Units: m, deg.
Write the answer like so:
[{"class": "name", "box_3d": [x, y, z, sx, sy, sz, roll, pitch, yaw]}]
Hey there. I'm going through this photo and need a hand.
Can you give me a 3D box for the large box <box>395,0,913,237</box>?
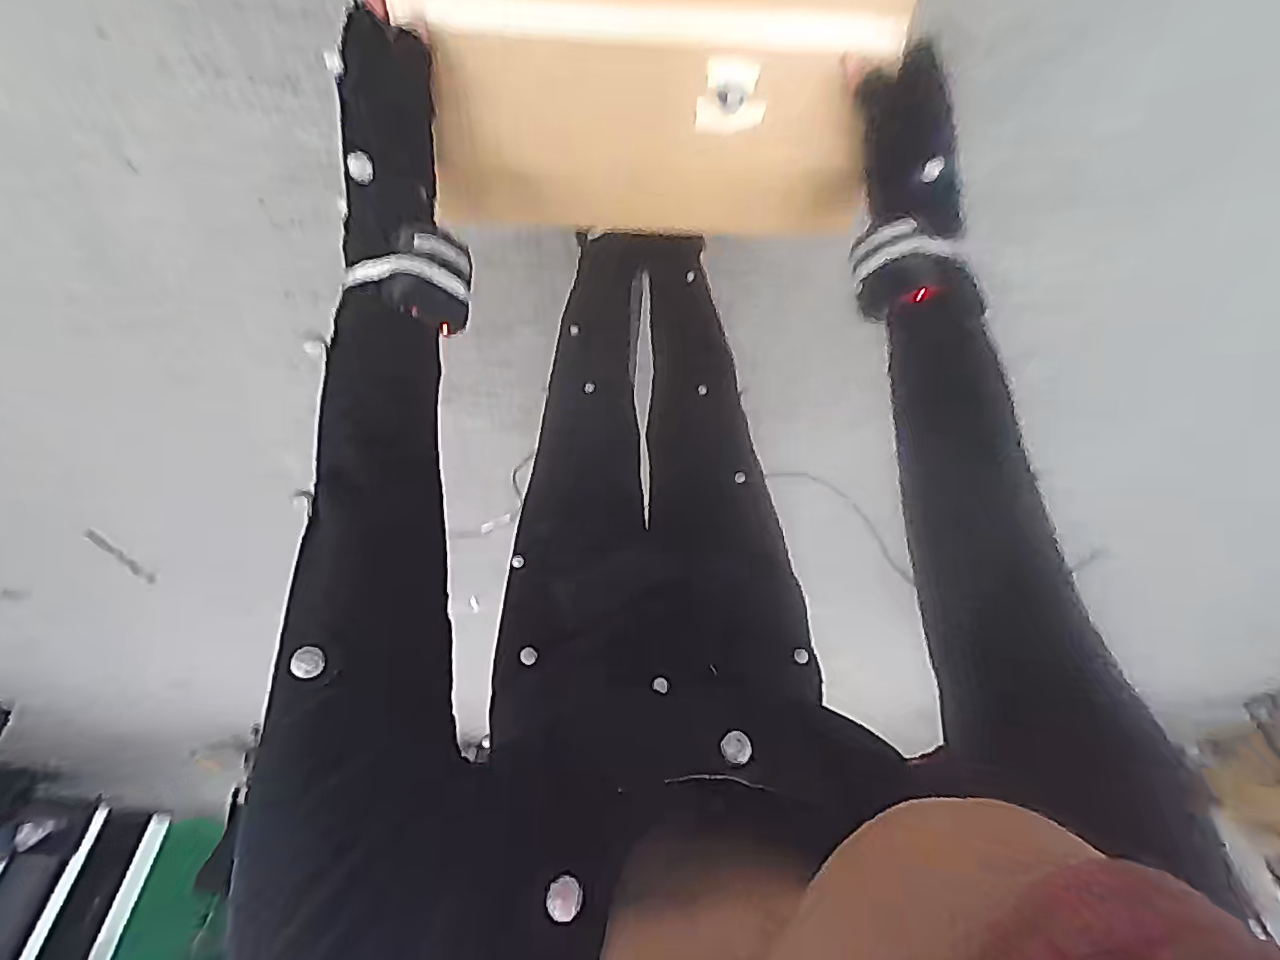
[{"class": "large box", "box_3d": [0.003, -0.450, 0.533, 0.408, 0.320, 0.320, 0, 132, -4]}]
